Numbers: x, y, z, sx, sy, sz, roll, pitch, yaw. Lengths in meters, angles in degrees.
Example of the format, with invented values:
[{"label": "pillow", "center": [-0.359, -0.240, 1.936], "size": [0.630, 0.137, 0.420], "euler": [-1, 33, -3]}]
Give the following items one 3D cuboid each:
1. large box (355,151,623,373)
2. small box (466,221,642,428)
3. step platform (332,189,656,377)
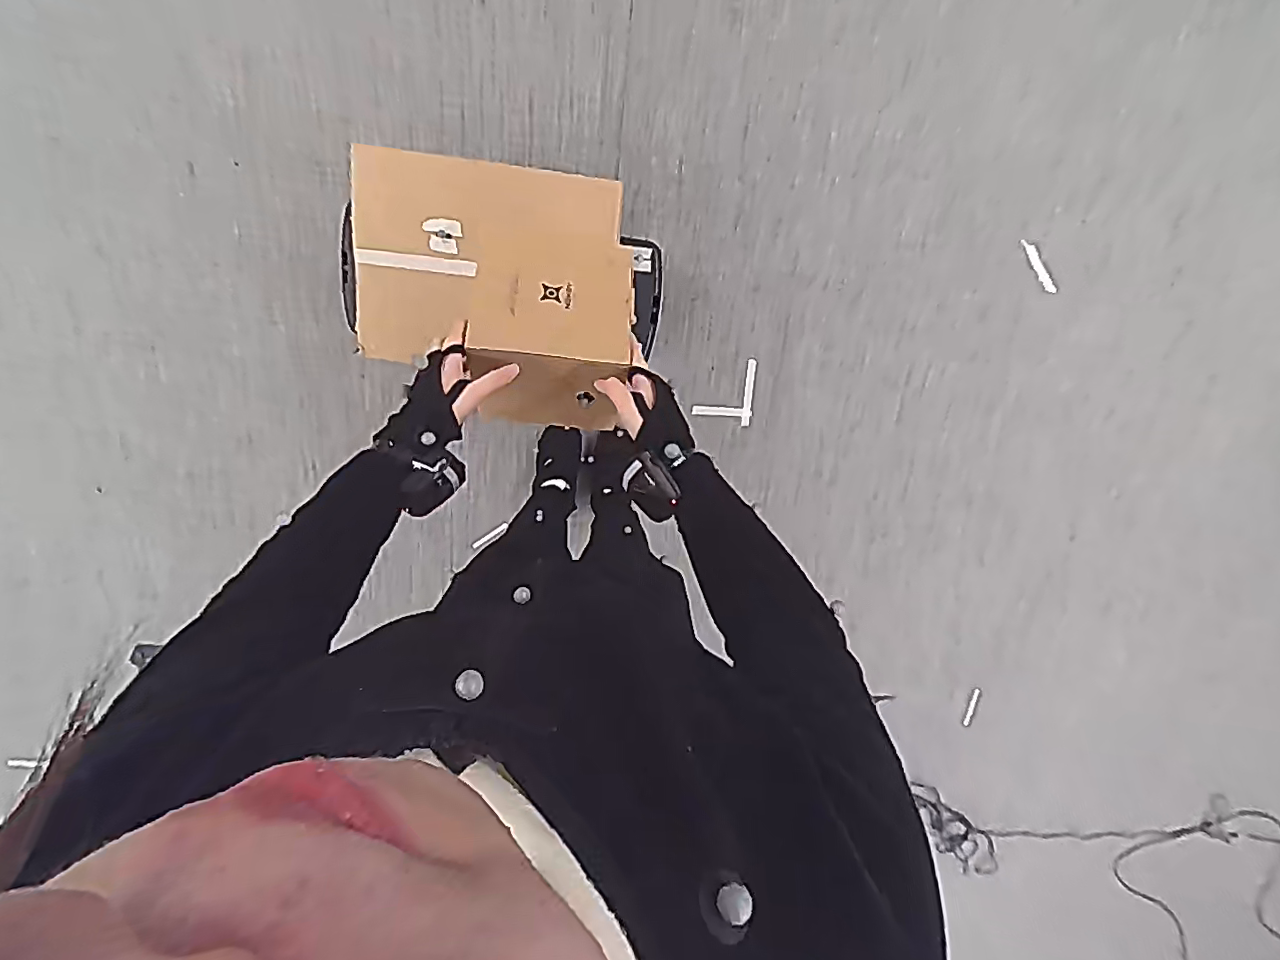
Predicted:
[{"label": "large box", "center": [-0.241, -0.364, 0.988], "size": [0.408, 0.320, 0.320], "euler": [6, 105, -4]}, {"label": "small box", "center": [-0.099, -0.174, 0.652], "size": [0.179, 0.176, 0.168], "euler": [5, 69, -8]}, {"label": "step platform", "center": [-0.308, -0.419, 1.217], "size": [0.684, 0.204, 0.286], "euler": [11, 106, -6]}]
